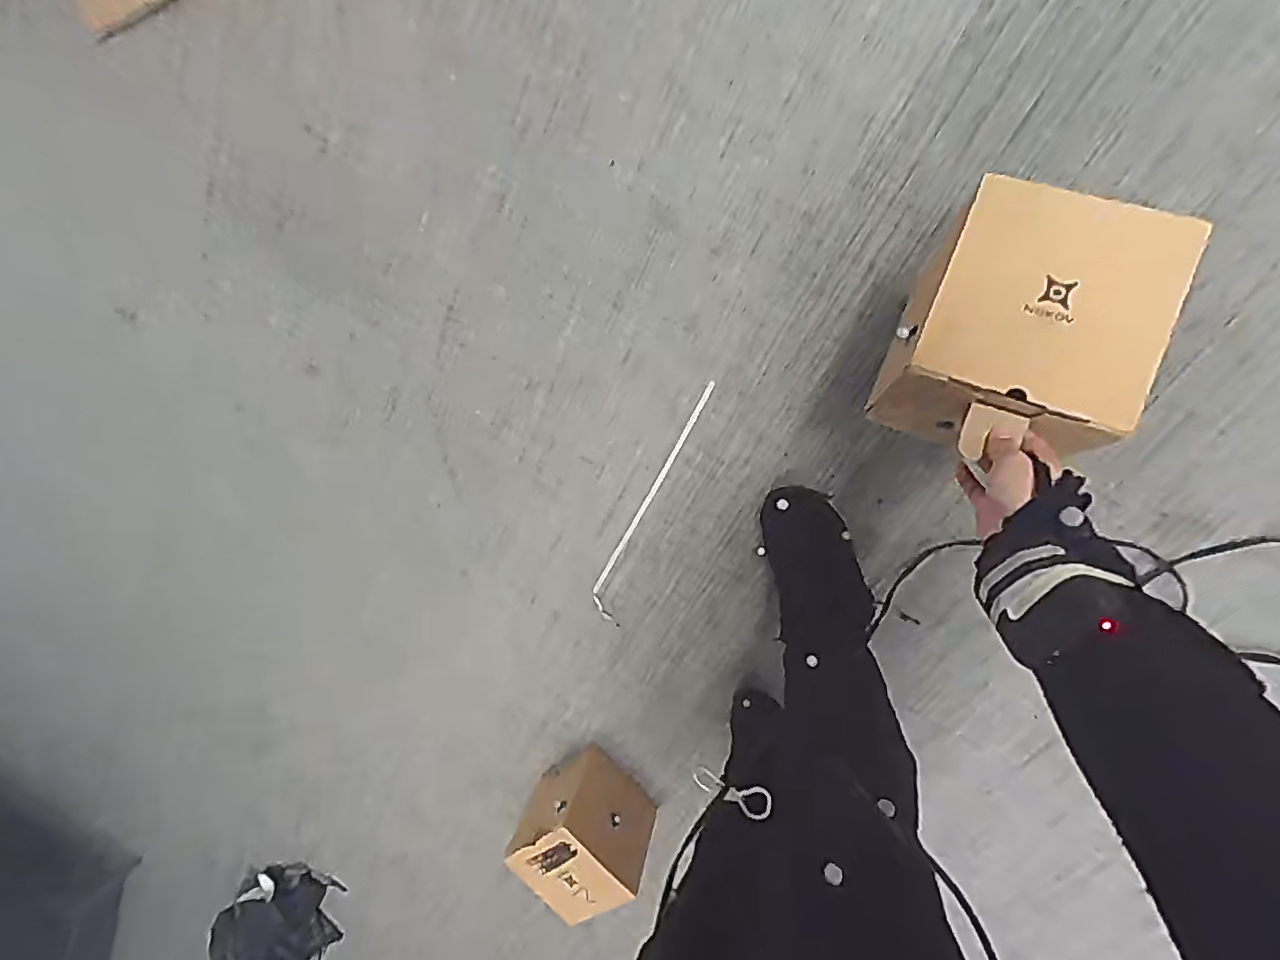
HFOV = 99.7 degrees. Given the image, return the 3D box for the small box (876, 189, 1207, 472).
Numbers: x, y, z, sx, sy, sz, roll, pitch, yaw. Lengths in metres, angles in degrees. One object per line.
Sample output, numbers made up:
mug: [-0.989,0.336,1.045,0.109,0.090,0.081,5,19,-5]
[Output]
small box: [0.344,-0.123,0.505,0.168,0.176,0.179,22,88,13]
